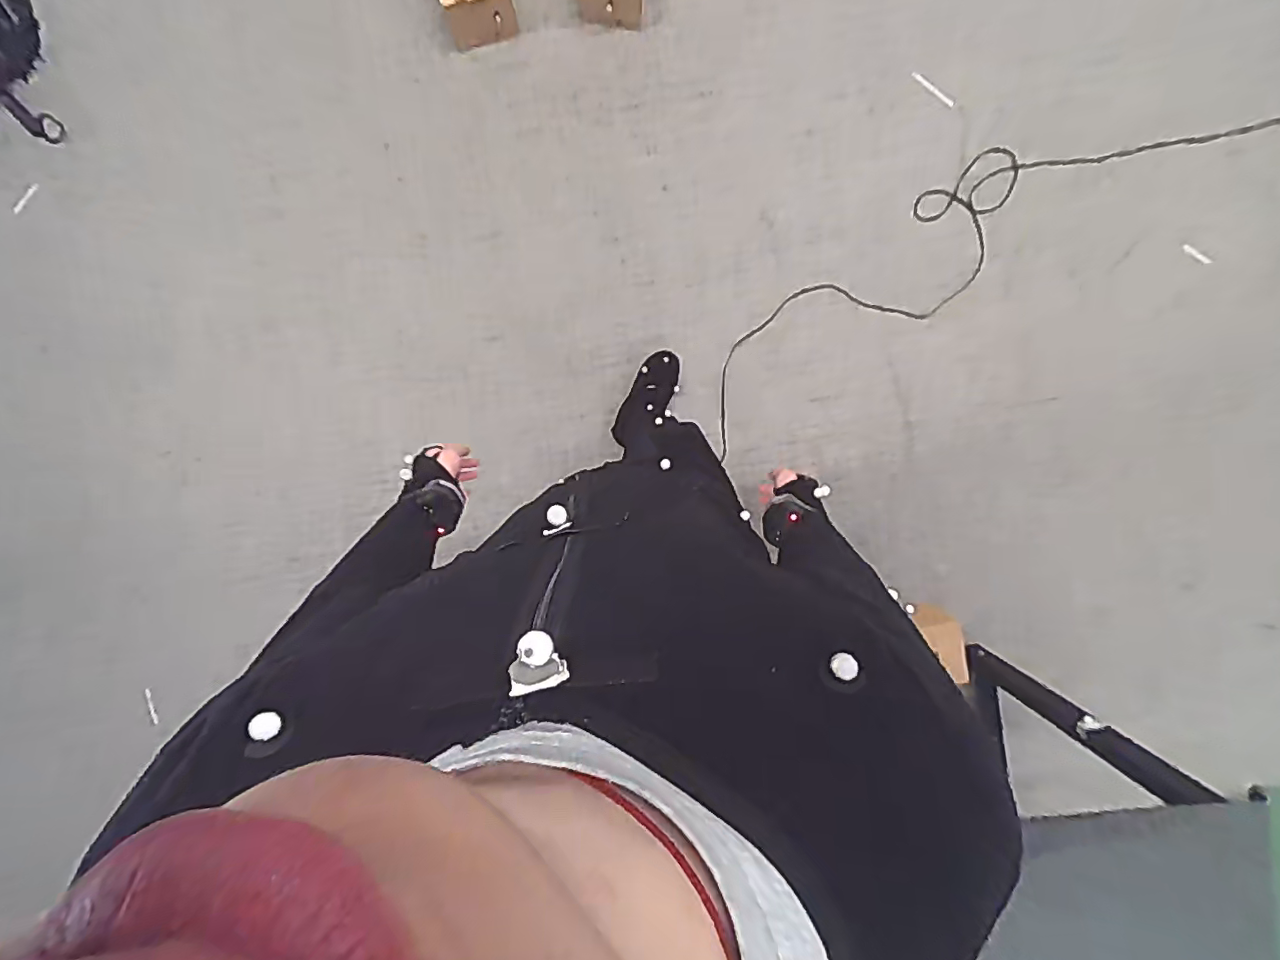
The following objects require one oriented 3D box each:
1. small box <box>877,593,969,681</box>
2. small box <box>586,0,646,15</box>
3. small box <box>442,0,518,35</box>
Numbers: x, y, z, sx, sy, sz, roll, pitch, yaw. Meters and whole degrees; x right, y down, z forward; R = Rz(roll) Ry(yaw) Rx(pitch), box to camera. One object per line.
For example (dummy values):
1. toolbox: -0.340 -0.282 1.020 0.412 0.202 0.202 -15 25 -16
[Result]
1. small box: 0.802 0.442 1.543 0.168 0.176 0.179 -11 96 0
2. small box: -0.059 -1.269 1.292 0.168 0.176 0.179 8 98 -2
3. small box: -0.405 -1.218 1.295 0.168 0.176 0.179 -17 96 0
